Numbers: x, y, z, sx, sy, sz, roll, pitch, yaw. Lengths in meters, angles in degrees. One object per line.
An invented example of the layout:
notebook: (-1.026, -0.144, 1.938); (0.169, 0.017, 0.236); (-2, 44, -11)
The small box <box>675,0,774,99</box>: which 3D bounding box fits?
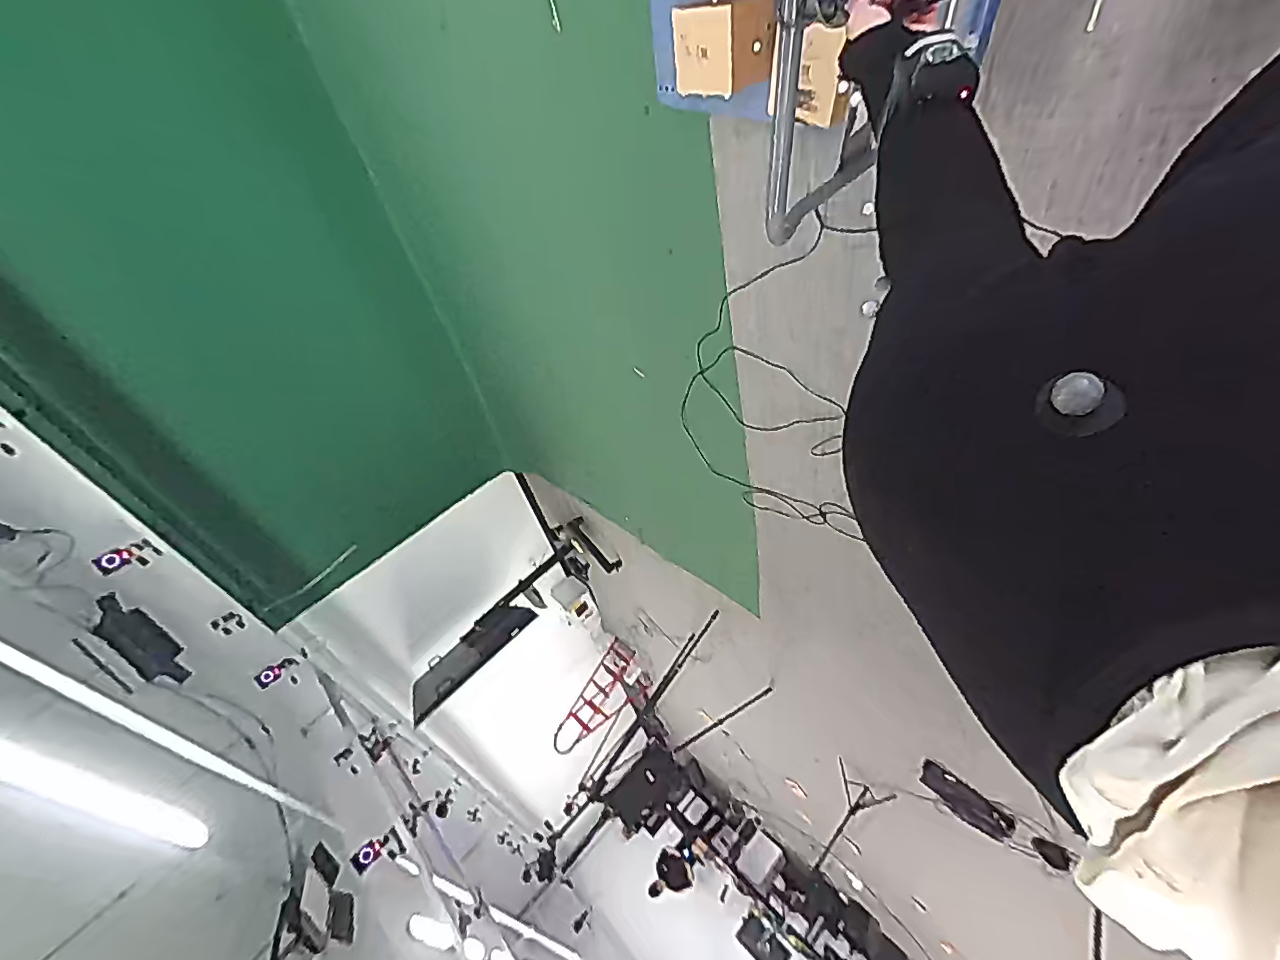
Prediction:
small box: (0.209, -1.051, 1.316); (0.179, 0.176, 0.168); (31, 148, 34)
